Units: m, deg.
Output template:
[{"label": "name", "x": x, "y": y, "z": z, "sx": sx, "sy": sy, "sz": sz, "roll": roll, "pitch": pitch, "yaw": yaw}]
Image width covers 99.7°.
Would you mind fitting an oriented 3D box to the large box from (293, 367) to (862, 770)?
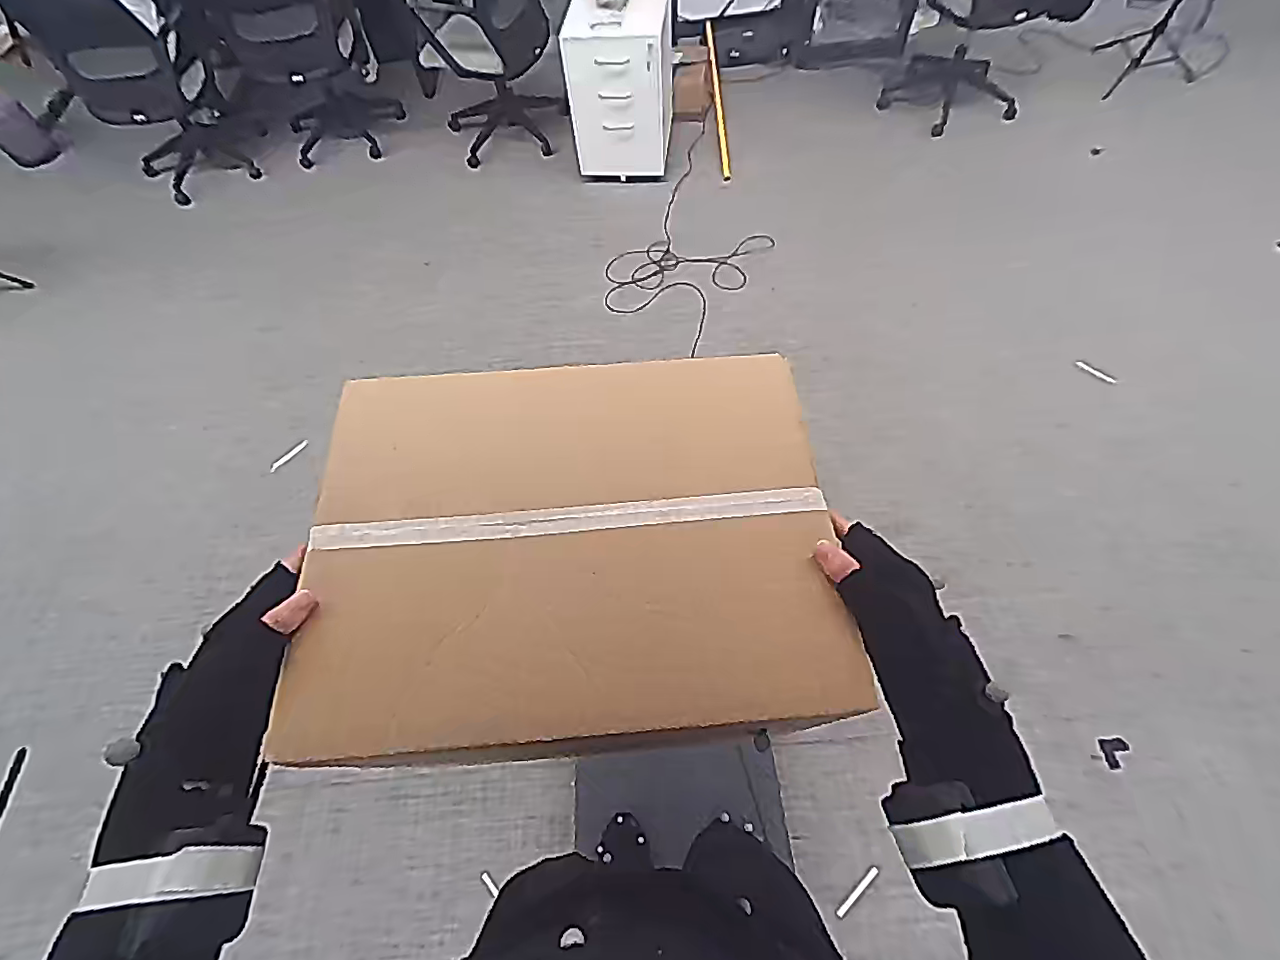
[{"label": "large box", "x": -0.050, "y": 0.112, "z": 0.572, "sx": 0.408, "sy": 0.320, "sz": 0.320, "roll": -4, "pitch": 61, "yaw": -2}]
